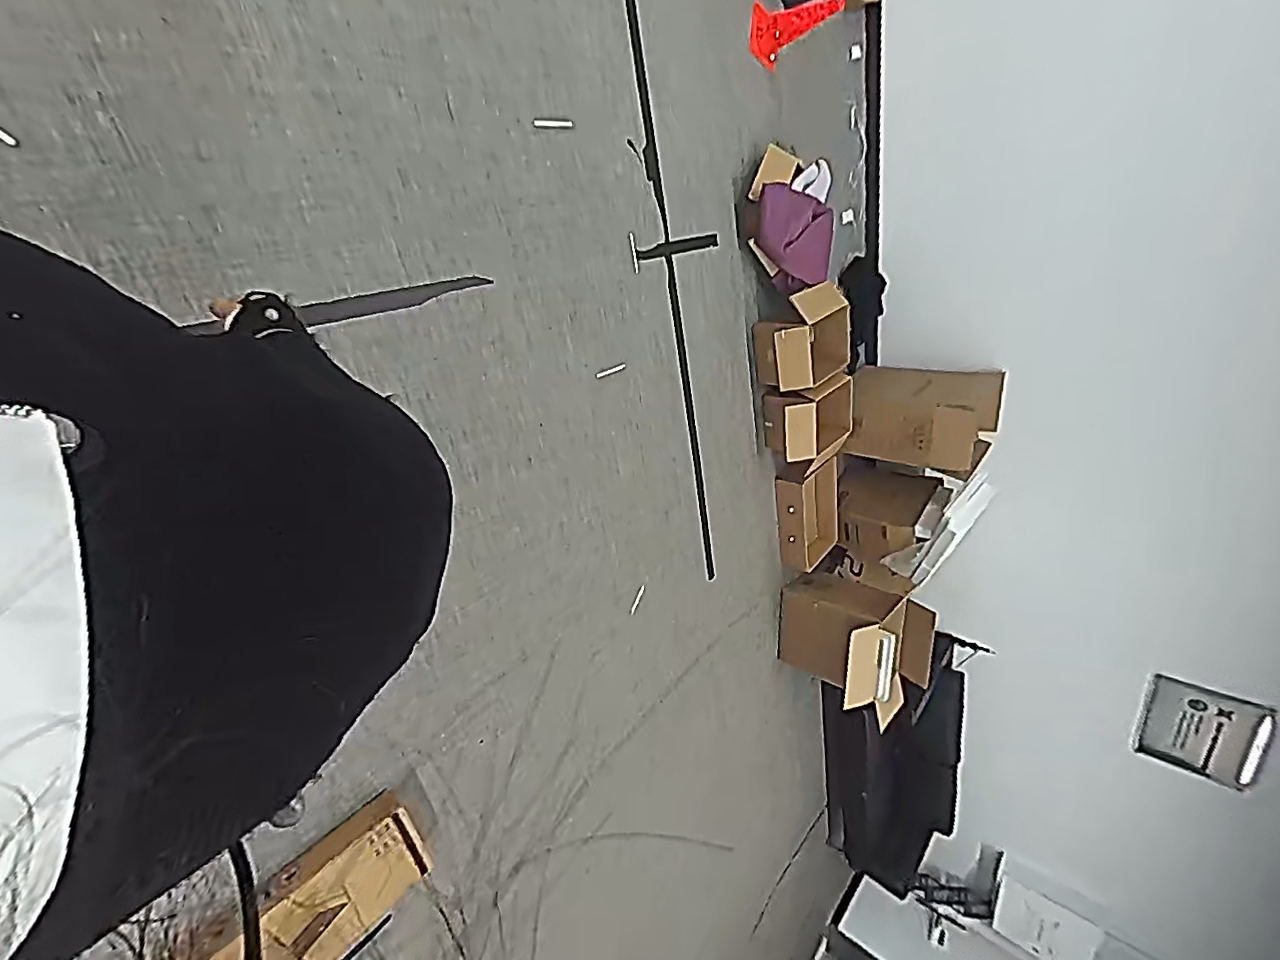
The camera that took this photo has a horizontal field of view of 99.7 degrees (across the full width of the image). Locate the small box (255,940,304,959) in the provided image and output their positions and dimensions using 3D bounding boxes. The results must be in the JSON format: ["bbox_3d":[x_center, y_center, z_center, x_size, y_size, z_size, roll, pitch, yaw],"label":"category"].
[{"bbox_3d":[-0.918,1.309,1.344,0.168,0.176,0.179,-34,123,-37],"label":"small box"}]
